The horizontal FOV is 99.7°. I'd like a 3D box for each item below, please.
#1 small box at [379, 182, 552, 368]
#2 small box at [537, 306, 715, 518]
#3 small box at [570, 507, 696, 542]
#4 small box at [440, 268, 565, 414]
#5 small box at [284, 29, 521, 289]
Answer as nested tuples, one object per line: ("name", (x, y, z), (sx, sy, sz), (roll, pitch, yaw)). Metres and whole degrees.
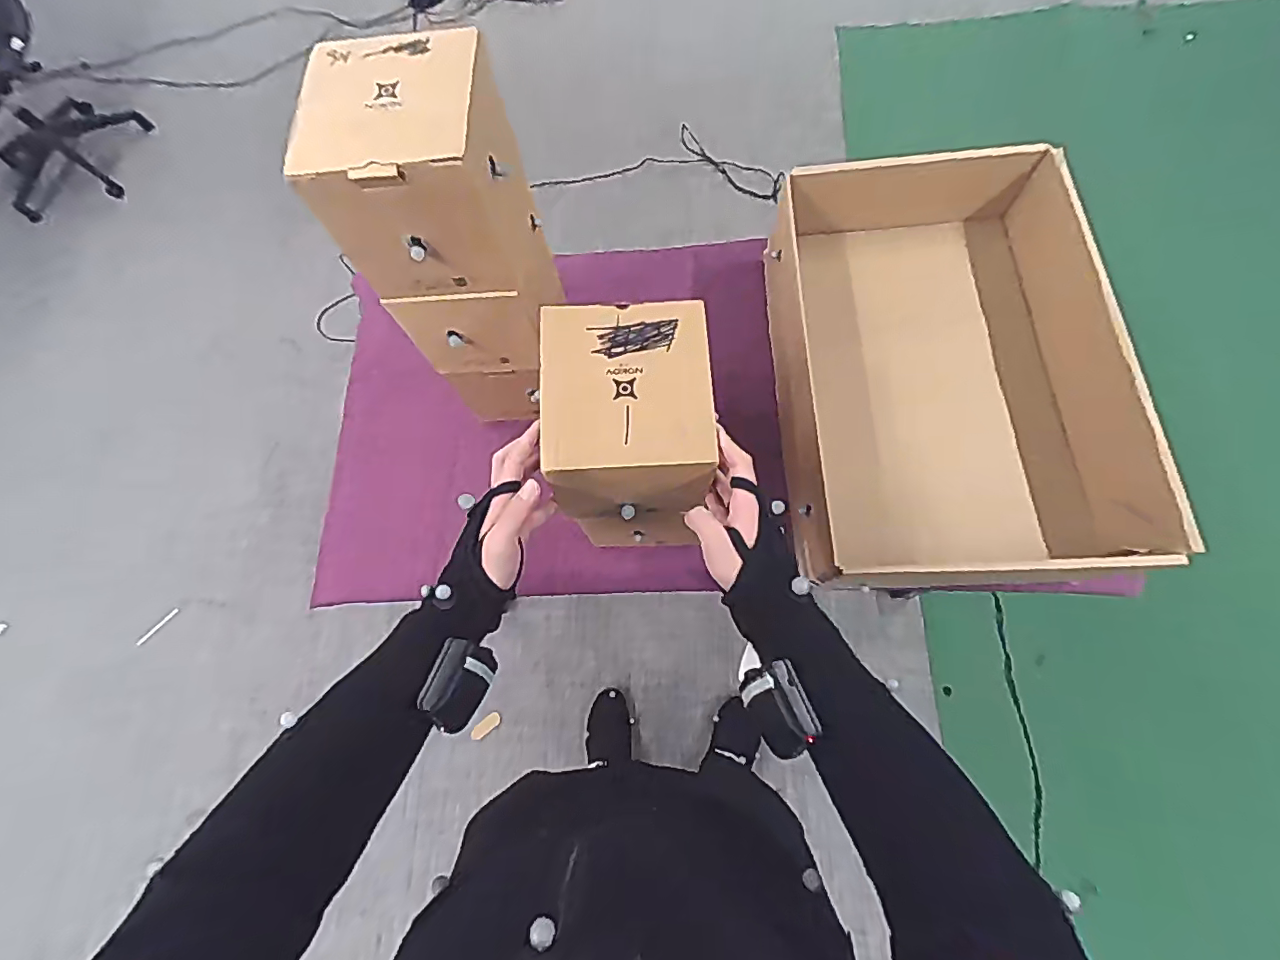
("small box", (-0.217, -0.262, 0.724), (0.168, 0.176, 0.179), (-2, 70, 4))
("small box", (-0.015, -0.066, 0.596), (0.168, 0.176, 0.179), (-3, 71, 0))
("small box", (-0.001, -0.009, 0.786), (0.168, 0.176, 0.179), (-1, 70, 4))
("small box", (-0.204, -0.214, 0.878), (0.168, 0.176, 0.179), (-2, 71, 3))
("small box", (-0.229, -0.320, 0.570), (0.168, 0.176, 0.179), (-3, 71, 3))
